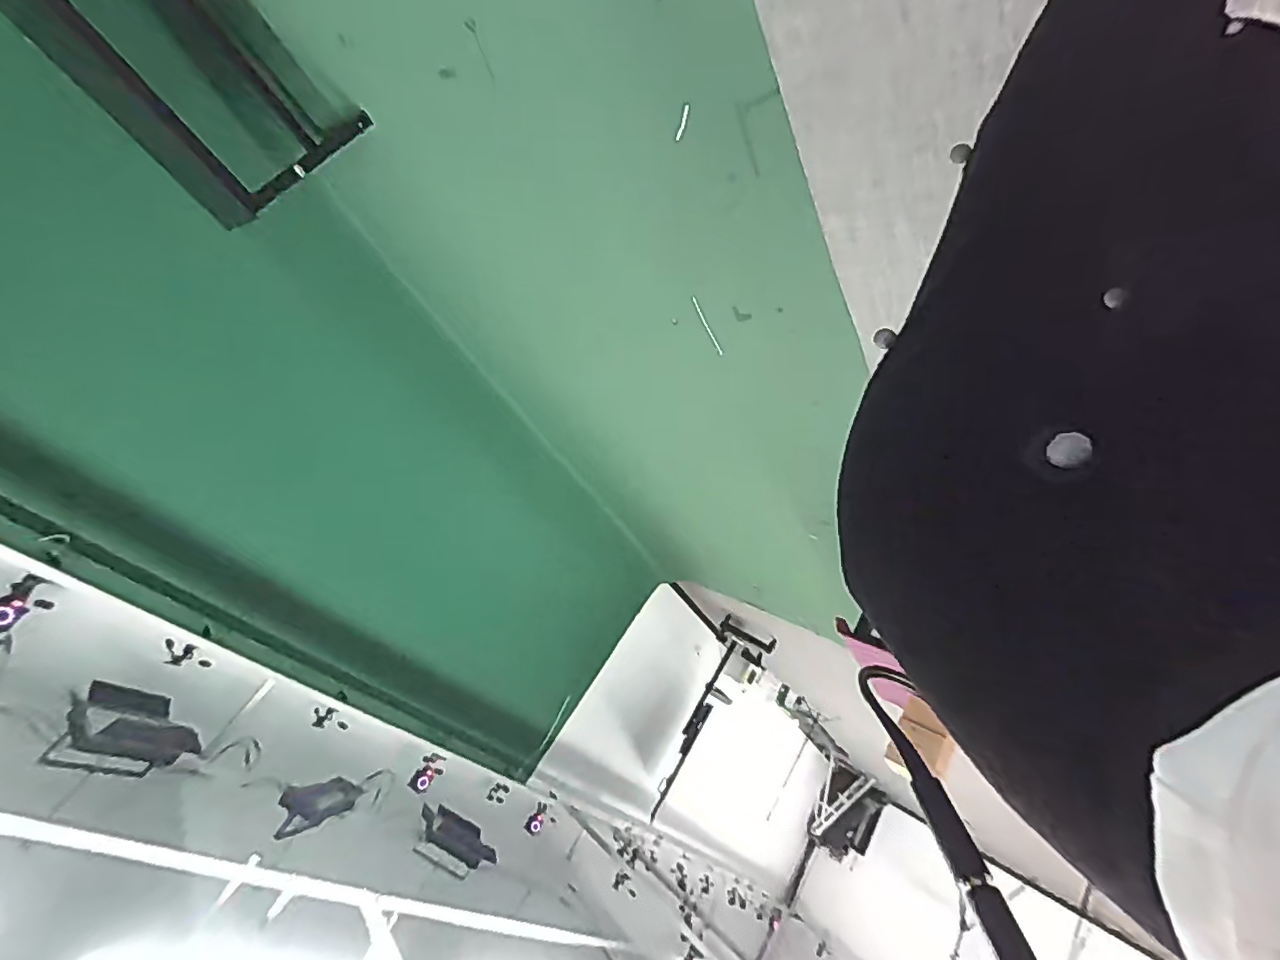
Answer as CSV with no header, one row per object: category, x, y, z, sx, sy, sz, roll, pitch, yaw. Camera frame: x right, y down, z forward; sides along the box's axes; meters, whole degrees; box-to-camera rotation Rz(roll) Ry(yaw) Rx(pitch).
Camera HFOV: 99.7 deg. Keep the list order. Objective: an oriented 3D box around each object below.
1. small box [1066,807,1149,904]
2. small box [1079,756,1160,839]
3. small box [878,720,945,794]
small box,1.404,1.121,1.626,0.168,0.176,0.179,12,151,46
small box,1.497,1.003,1.689,0.168,0.176,0.179,12,149,47
small box,1.025,1.036,2.034,0.168,0.176,0.179,14,150,46
